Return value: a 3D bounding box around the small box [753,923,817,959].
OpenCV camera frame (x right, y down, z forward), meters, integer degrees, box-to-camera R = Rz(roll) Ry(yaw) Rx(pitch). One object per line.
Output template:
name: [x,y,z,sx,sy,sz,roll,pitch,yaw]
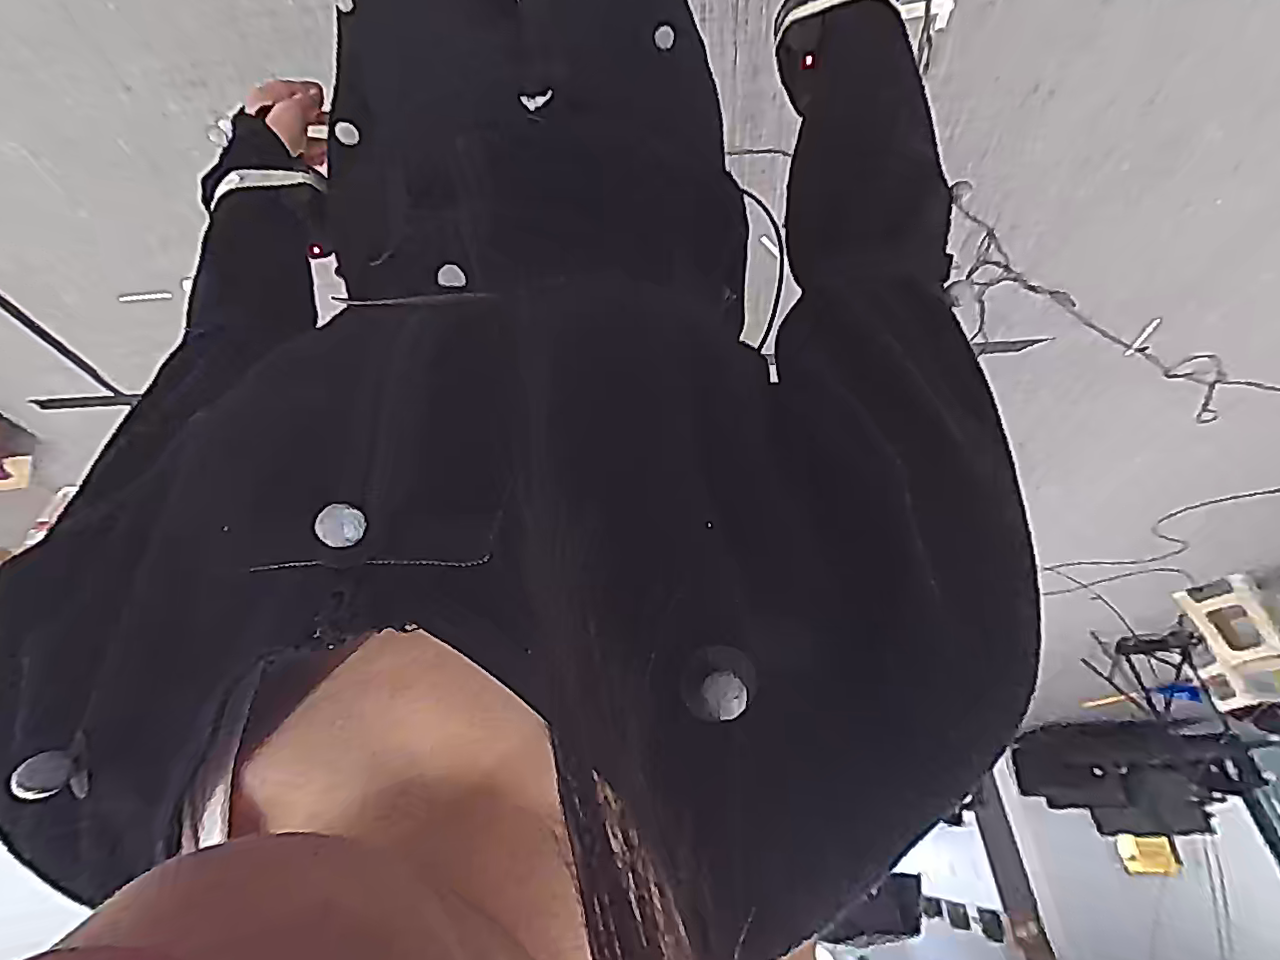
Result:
small box: [0.402,1.341,1.491,0.168,0.176,0.179,-5,146,8]
